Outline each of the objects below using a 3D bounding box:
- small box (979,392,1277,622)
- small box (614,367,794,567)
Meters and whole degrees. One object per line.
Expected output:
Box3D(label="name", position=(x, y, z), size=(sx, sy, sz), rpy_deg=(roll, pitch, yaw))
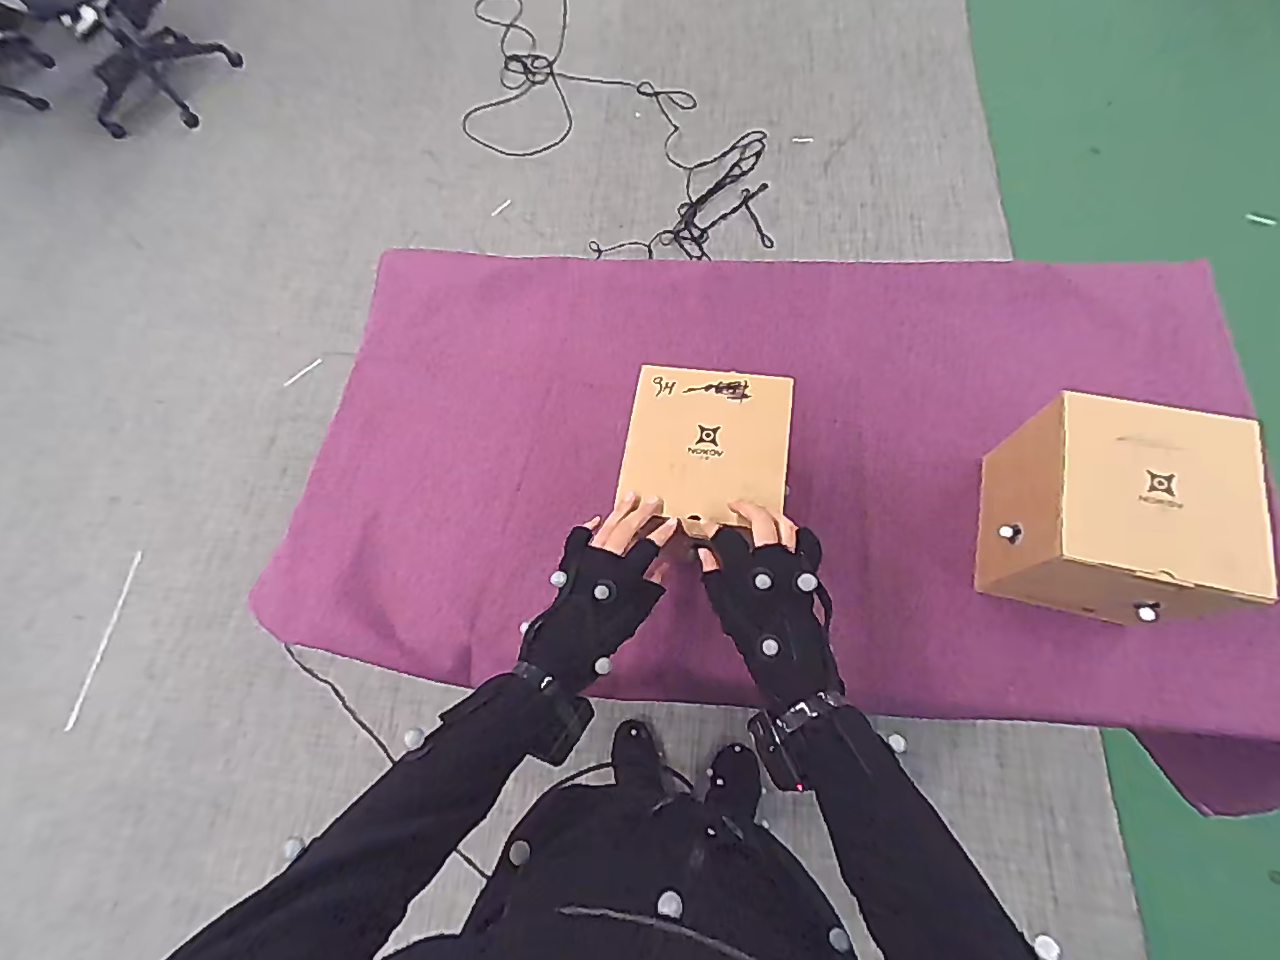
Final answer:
Box3D(label="small box", position=(0.479, 0.037, 0.562), size=(0.168, 0.176, 0.179), rpy_deg=(13, 70, 12))
Box3D(label="small box", position=(0.077, -0.006, 0.628), size=(0.168, 0.176, 0.179), rpy_deg=(7, 70, 9))
